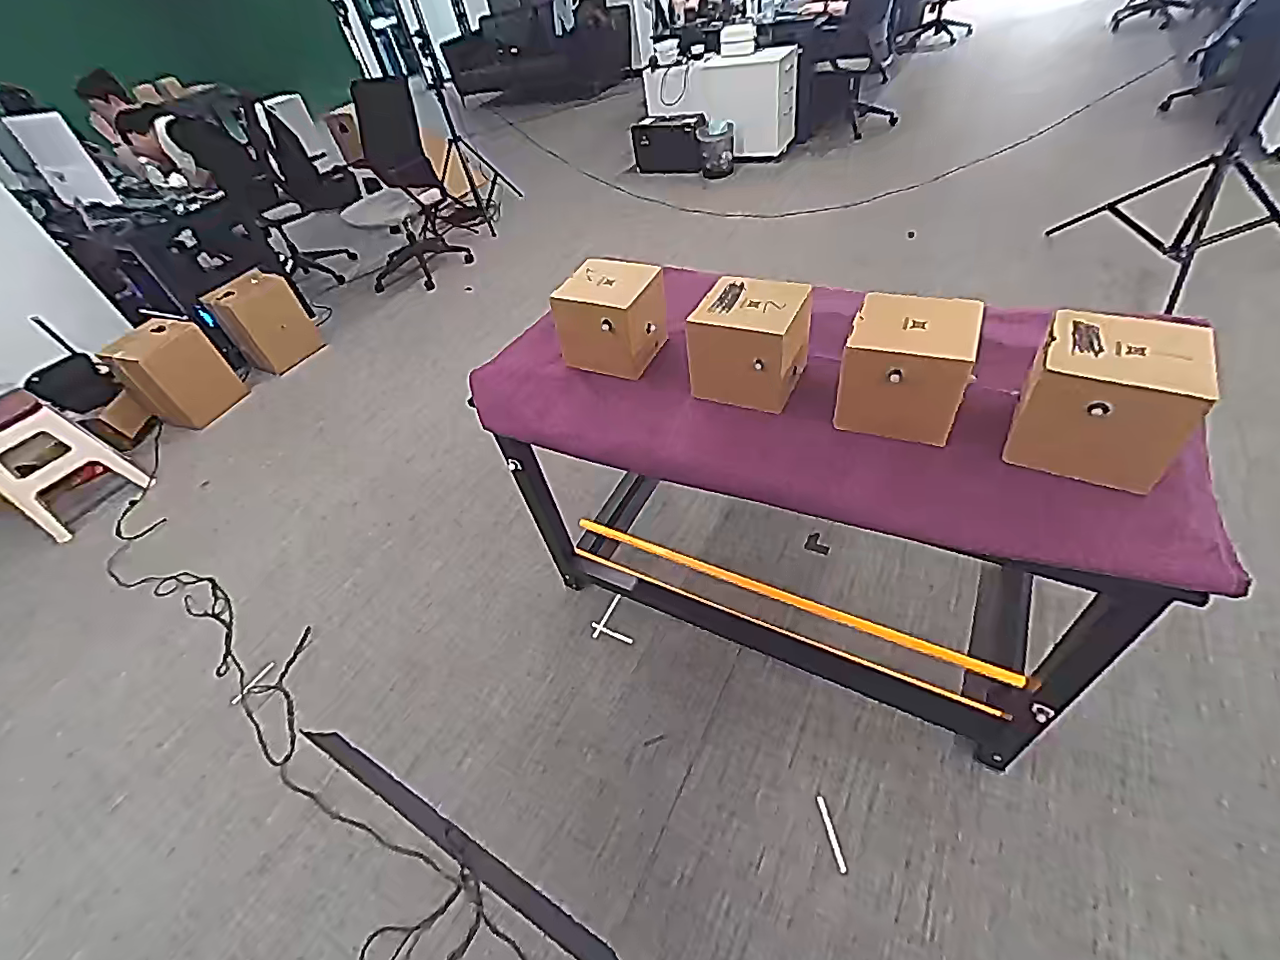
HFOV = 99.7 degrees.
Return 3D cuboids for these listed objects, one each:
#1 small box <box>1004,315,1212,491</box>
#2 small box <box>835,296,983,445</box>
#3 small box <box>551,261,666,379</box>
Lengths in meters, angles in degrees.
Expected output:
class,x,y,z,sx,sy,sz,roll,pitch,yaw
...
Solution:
class,x,y,z,sx,sy,sz,roll,pitch,yaw
small box,0.648,-0.109,0.768,0.179,0.176,0.168,20,53,28
small box,0.433,-0.178,0.887,0.179,0.176,0.168,14,51,25
small box,-0.055,-0.333,1.135,0.179,0.176,0.168,16,51,22
